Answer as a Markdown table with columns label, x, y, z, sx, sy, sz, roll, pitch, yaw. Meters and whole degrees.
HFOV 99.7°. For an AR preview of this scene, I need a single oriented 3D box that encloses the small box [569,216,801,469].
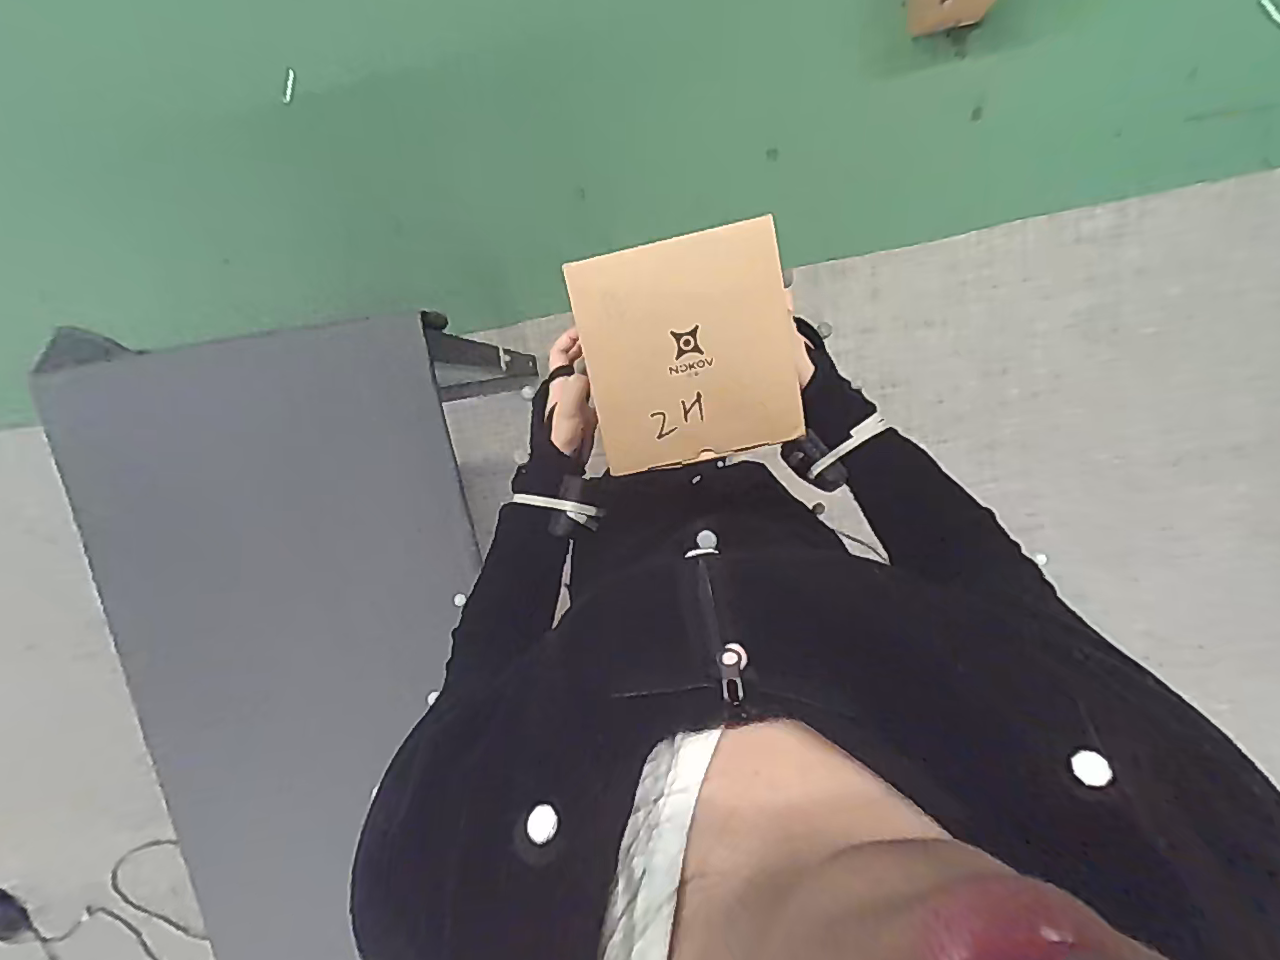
| label | x | y | z | sx | sy | sz | roll | pitch | yaw |
| --- | --- | --- | --- | --- | --- | --- | --- | --- | --- |
| small box | 0.042 | -0.122 | 0.514 | 0.168 | 0.176 | 0.179 | -11 | 102 | 6 |
